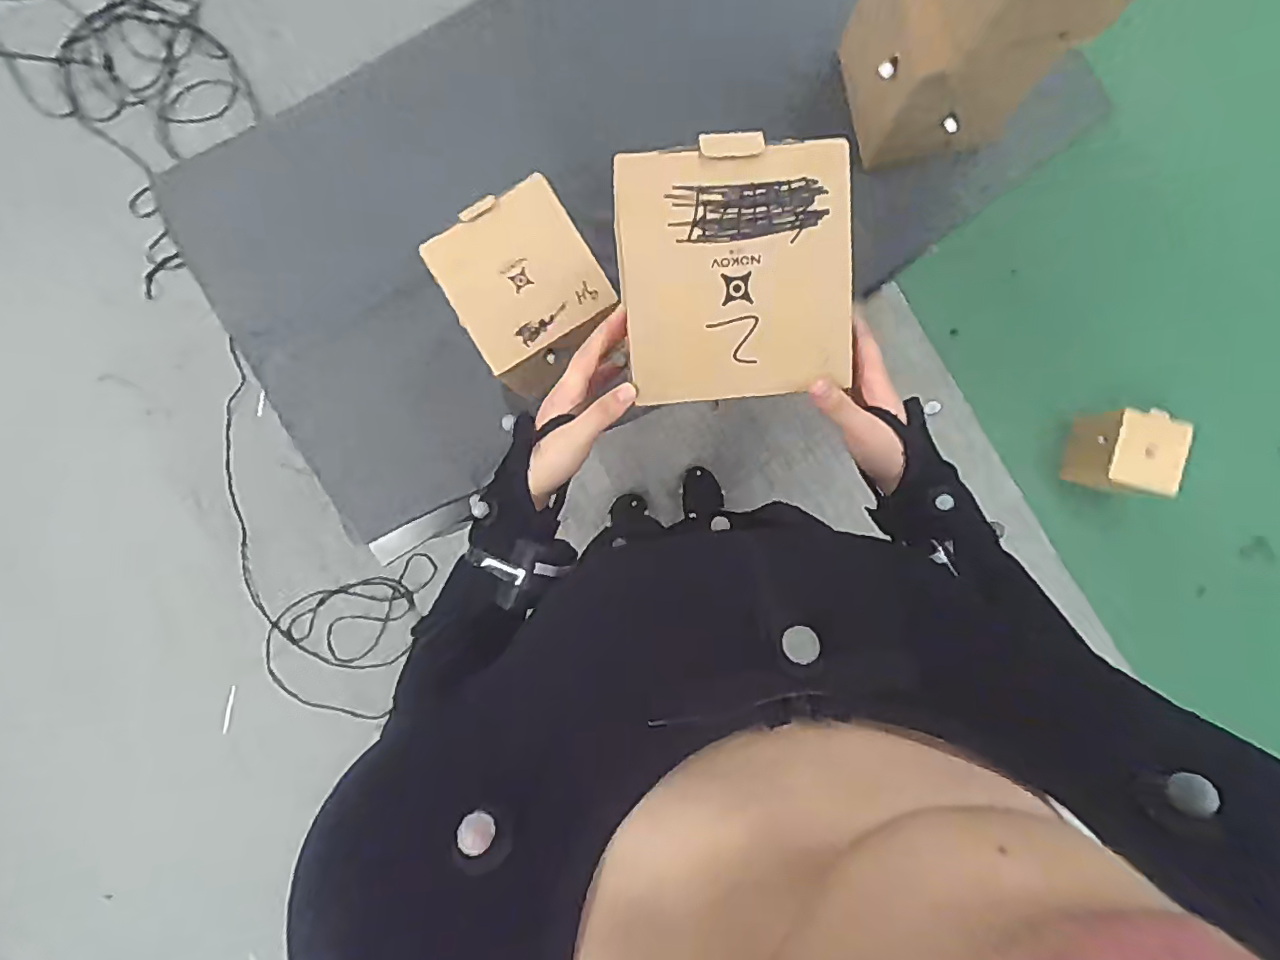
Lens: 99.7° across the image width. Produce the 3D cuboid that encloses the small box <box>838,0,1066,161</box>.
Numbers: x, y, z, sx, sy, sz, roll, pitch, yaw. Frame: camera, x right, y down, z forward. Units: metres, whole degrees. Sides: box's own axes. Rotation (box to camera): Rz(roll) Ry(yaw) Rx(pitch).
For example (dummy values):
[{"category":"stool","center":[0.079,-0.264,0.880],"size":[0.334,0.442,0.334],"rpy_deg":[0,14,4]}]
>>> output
[{"category":"small box","center":[0.361,-0.522,0.656],"size":[0.168,0.176,0.179],"rpy_deg":[-11,87,2]}]

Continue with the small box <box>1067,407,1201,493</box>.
[{"category":"small box","center":[1.227,-0.071,1.357],"size":[0.168,0.176,0.179],"rpy_deg":[14,90,2]}]

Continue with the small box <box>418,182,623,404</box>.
[{"category":"small box","center":[-0.136,-0.218,0.682],"size":[0.168,0.176,0.179],"rpy_deg":[-32,87,2]}]
